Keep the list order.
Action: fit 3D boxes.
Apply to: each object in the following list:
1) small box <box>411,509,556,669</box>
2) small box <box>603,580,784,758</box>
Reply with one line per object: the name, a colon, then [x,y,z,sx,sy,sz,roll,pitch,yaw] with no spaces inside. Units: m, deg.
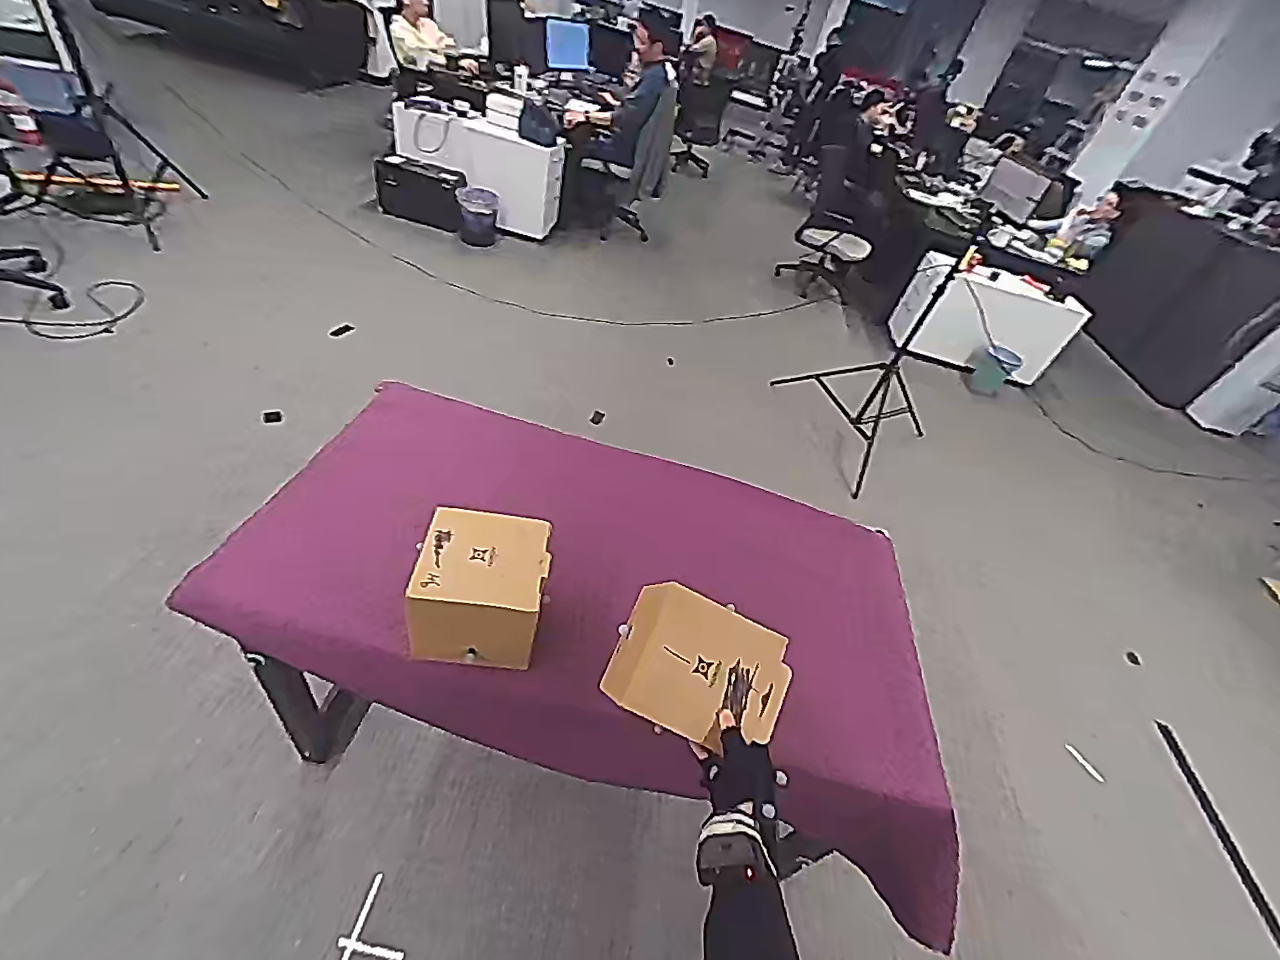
small box: [-0.236,0.172,0.832,0.179,0.176,0.168,10,41,-9]
small box: [0.066,0.255,0.758,0.179,0.176,0.168,27,71,-5]
